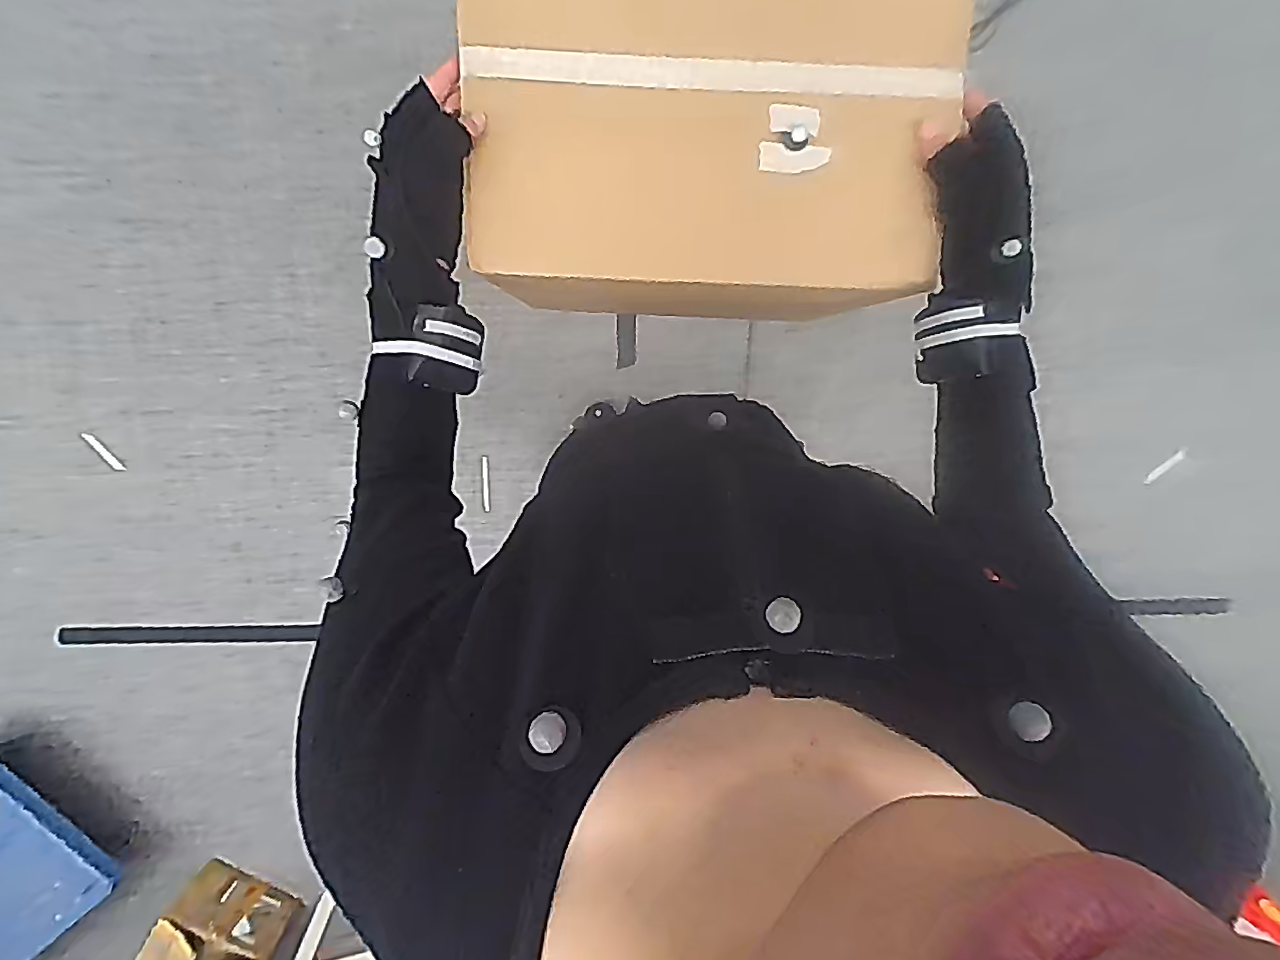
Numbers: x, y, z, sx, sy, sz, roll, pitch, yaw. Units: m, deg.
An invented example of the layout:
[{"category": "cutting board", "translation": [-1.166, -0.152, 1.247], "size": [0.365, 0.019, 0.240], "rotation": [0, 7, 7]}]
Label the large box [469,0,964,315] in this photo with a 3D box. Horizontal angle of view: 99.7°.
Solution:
[{"category": "large box", "translation": [0.054, -0.356, 0.588], "size": [0.408, 0.320, 0.320], "rotation": [1, 102, -3]}]
